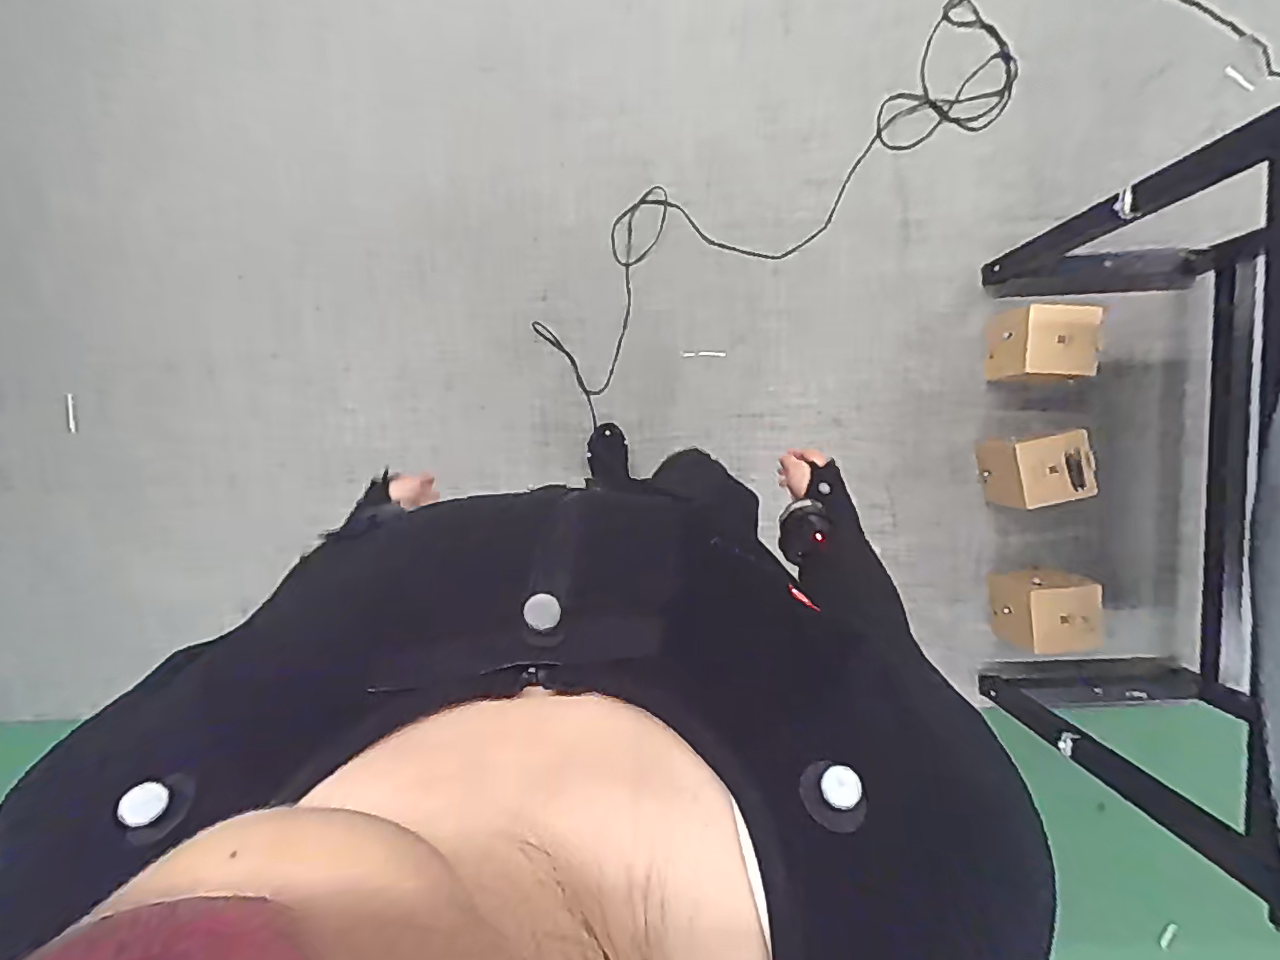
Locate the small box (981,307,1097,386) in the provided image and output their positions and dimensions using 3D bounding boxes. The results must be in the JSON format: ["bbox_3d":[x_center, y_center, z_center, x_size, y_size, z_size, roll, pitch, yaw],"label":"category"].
[{"bbox_3d":[1.006,-0.333,1.379,0.179,0.176,0.168,2,93,0],"label":"small box"}]

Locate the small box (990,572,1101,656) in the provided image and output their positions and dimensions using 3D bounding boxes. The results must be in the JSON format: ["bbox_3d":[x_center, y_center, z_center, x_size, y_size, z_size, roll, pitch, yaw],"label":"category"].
[{"bbox_3d":[1.046,0.345,1.414,0.179,0.176,0.168,-7,94,1],"label":"small box"}]

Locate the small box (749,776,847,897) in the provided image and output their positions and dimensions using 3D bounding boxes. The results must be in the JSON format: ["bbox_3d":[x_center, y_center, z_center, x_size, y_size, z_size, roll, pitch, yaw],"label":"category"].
[{"bbox_3d":[0.418,0.950,1.456,0.168,0.176,0.179,-34,93,2],"label":"small box"}]
